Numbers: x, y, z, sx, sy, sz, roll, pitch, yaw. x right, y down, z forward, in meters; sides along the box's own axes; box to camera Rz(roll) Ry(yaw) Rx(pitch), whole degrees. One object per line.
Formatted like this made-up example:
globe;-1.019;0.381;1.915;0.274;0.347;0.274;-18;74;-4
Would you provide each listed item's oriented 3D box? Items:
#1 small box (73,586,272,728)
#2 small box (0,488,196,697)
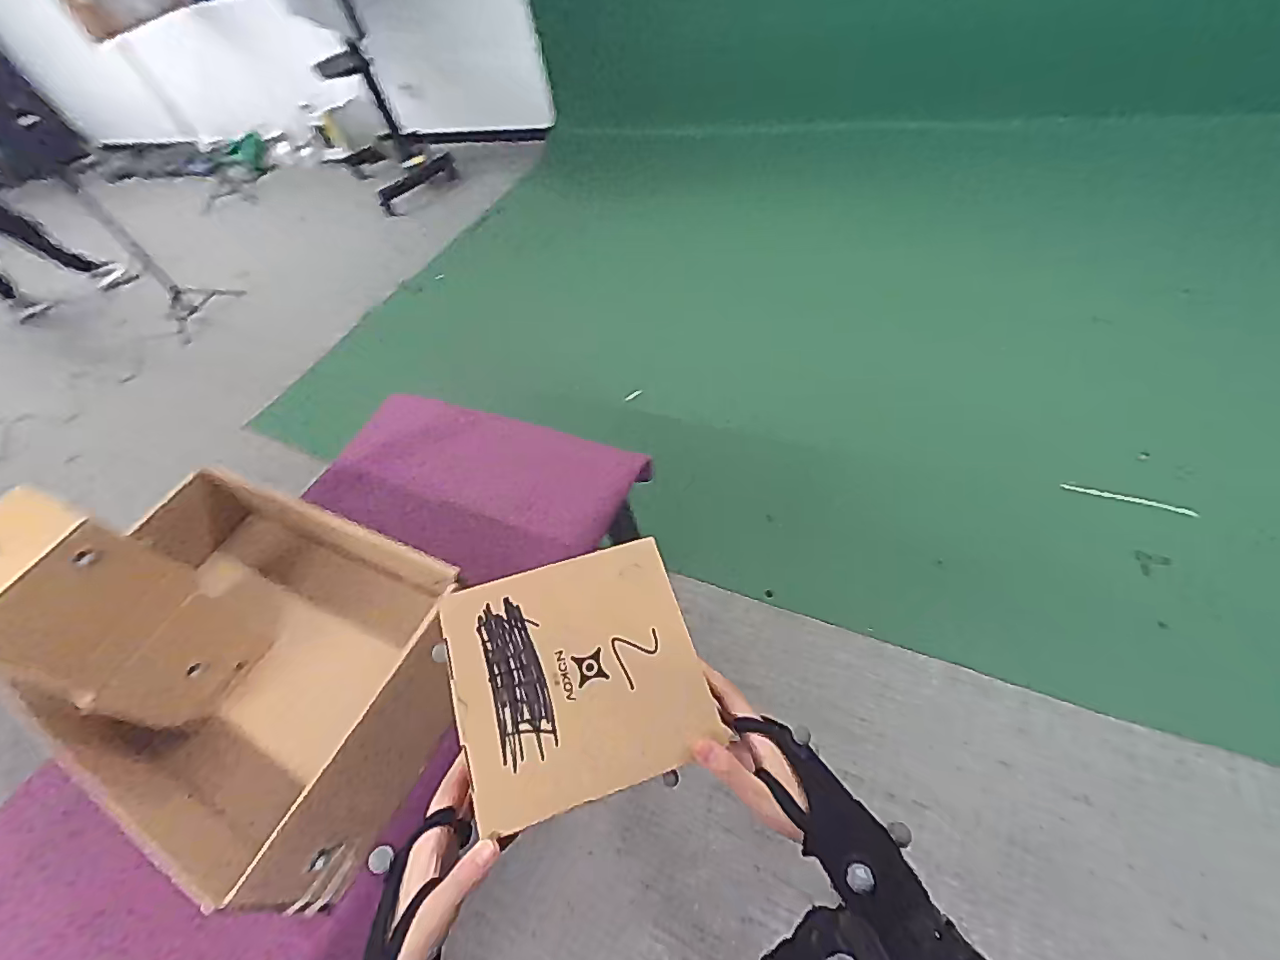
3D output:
small box;-0.701;0.243;0.797;0.179;0.176;0.168;17;58;23
small box;-0.724;0.142;0.672;0.168;0.176;0.179;14;57;22
